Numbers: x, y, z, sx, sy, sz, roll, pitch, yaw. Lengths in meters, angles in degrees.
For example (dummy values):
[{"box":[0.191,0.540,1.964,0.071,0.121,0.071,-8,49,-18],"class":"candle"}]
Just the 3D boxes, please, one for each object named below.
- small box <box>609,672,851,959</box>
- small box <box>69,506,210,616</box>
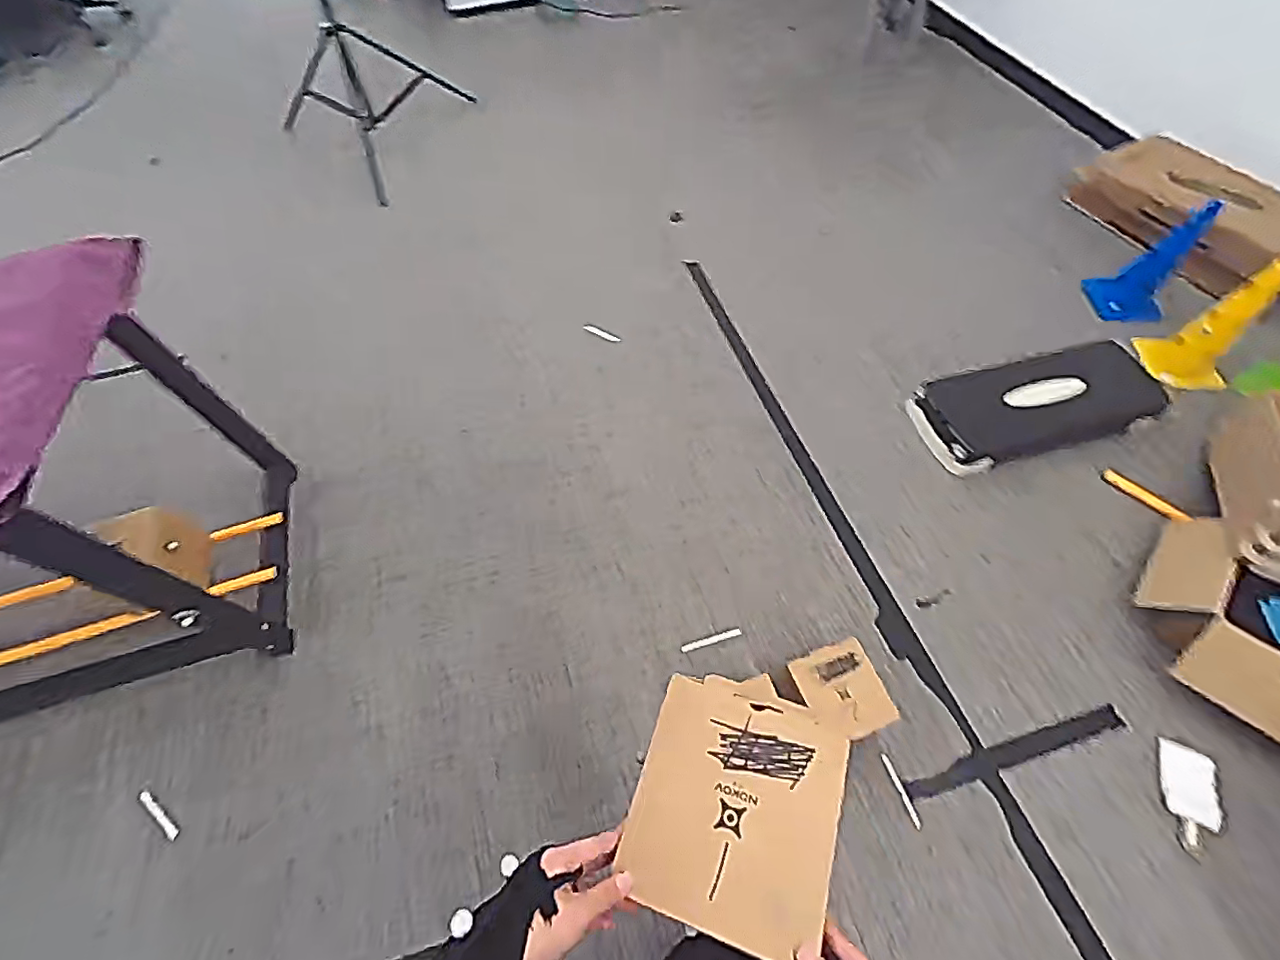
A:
[{"box":[0.082,0.310,0.508,0.168,0.176,0.179,14,60,13],"class":"small box"},{"box":[-1.142,0.190,1.252,0.168,0.176,0.179,-17,61,-6],"class":"small box"}]
